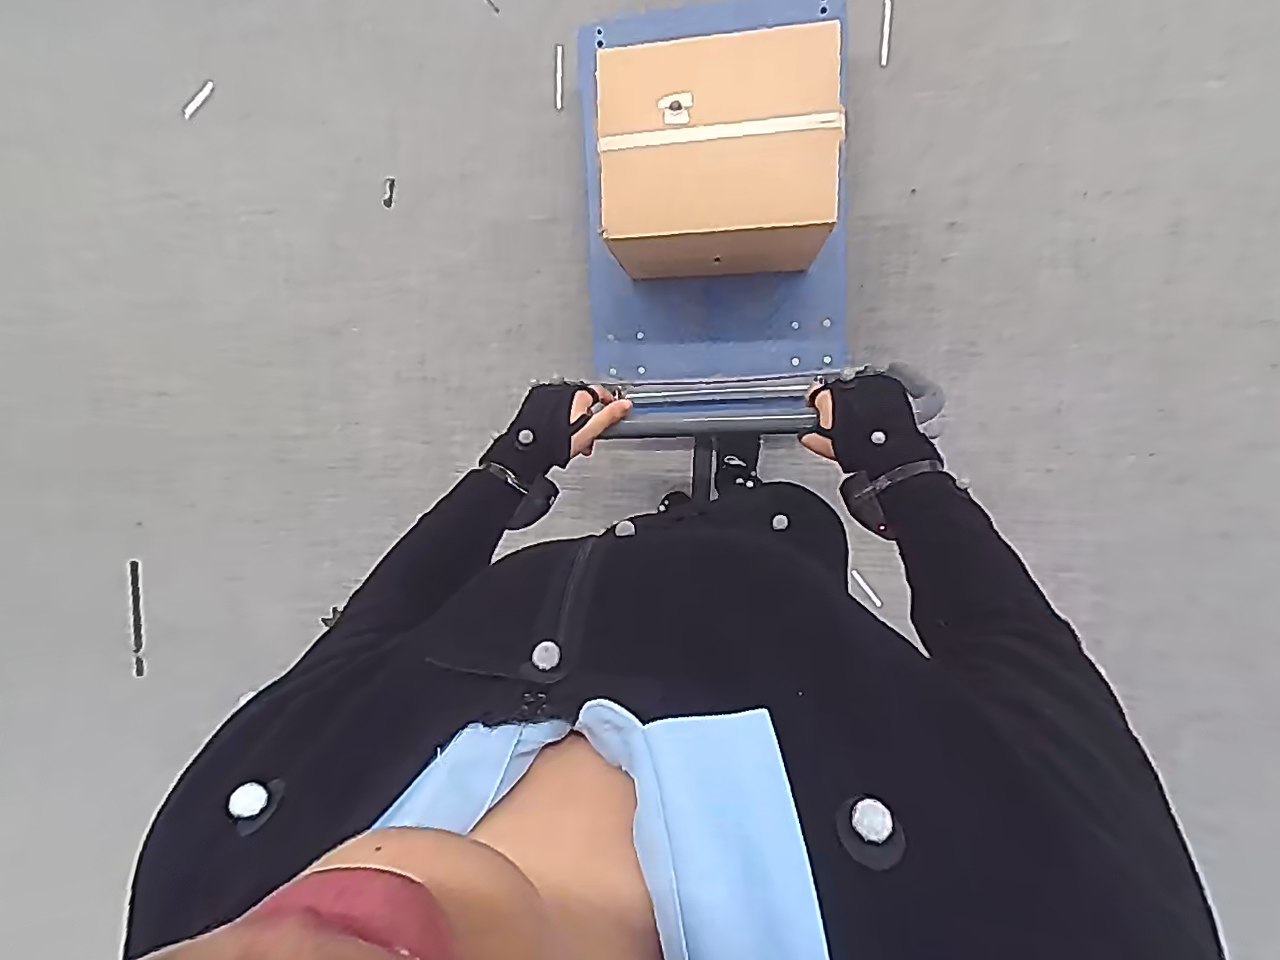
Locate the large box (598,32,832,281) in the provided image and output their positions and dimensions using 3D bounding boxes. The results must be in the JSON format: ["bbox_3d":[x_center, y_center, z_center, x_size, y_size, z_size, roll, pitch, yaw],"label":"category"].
[{"bbox_3d":[0.152,-0.603,1.085,0.408,0.320,0.320,0,96,9],"label":"large box"}]
